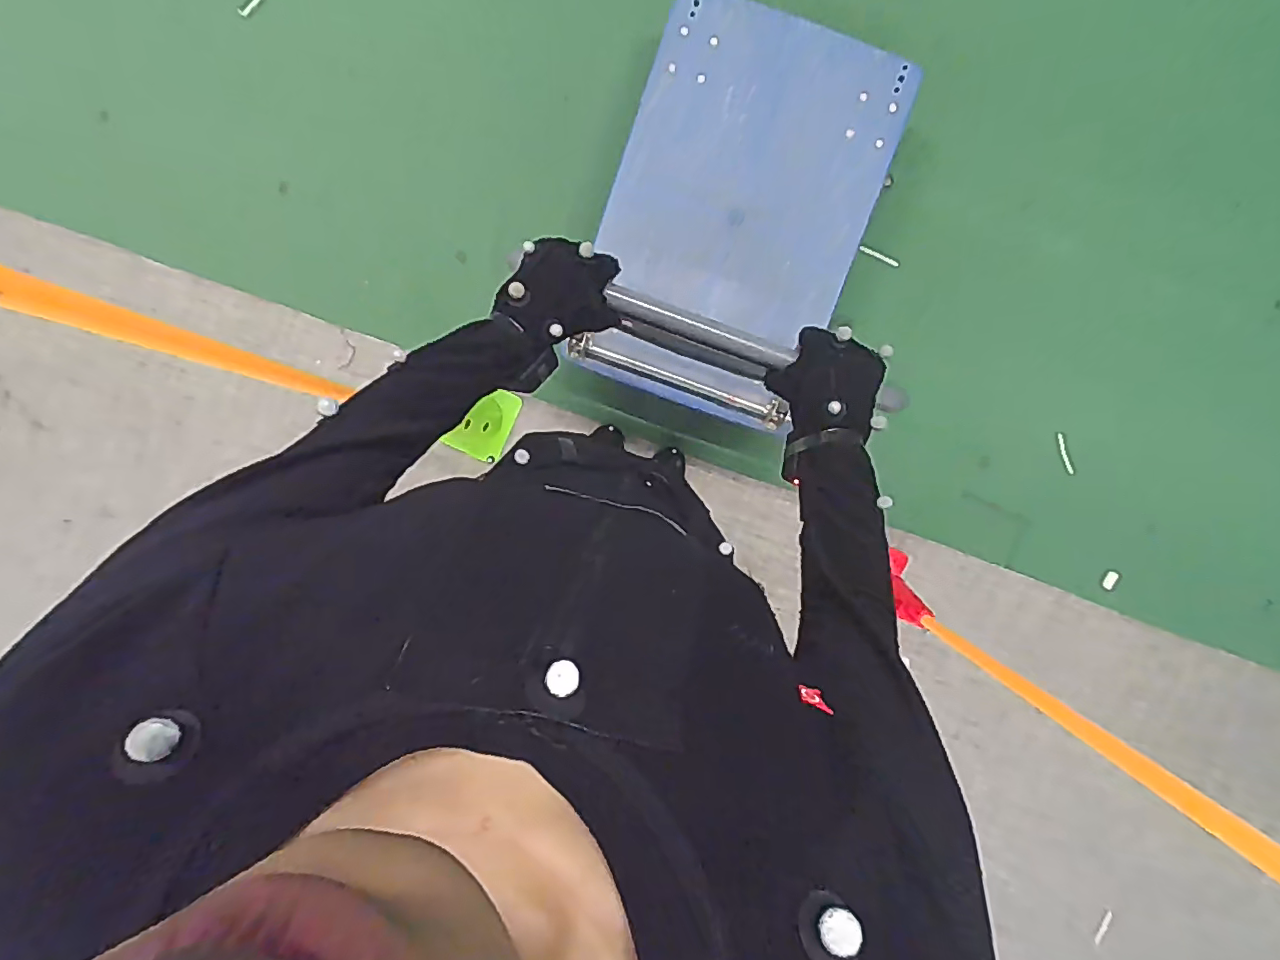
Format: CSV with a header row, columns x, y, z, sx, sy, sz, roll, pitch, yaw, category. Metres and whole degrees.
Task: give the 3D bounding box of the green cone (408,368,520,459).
x,y,z,sx,sy,sz,roll,pitch,yaw,category
-0.451,-0.165,1.293,0.202,0.368,0.200,25,95,-1,green cone
